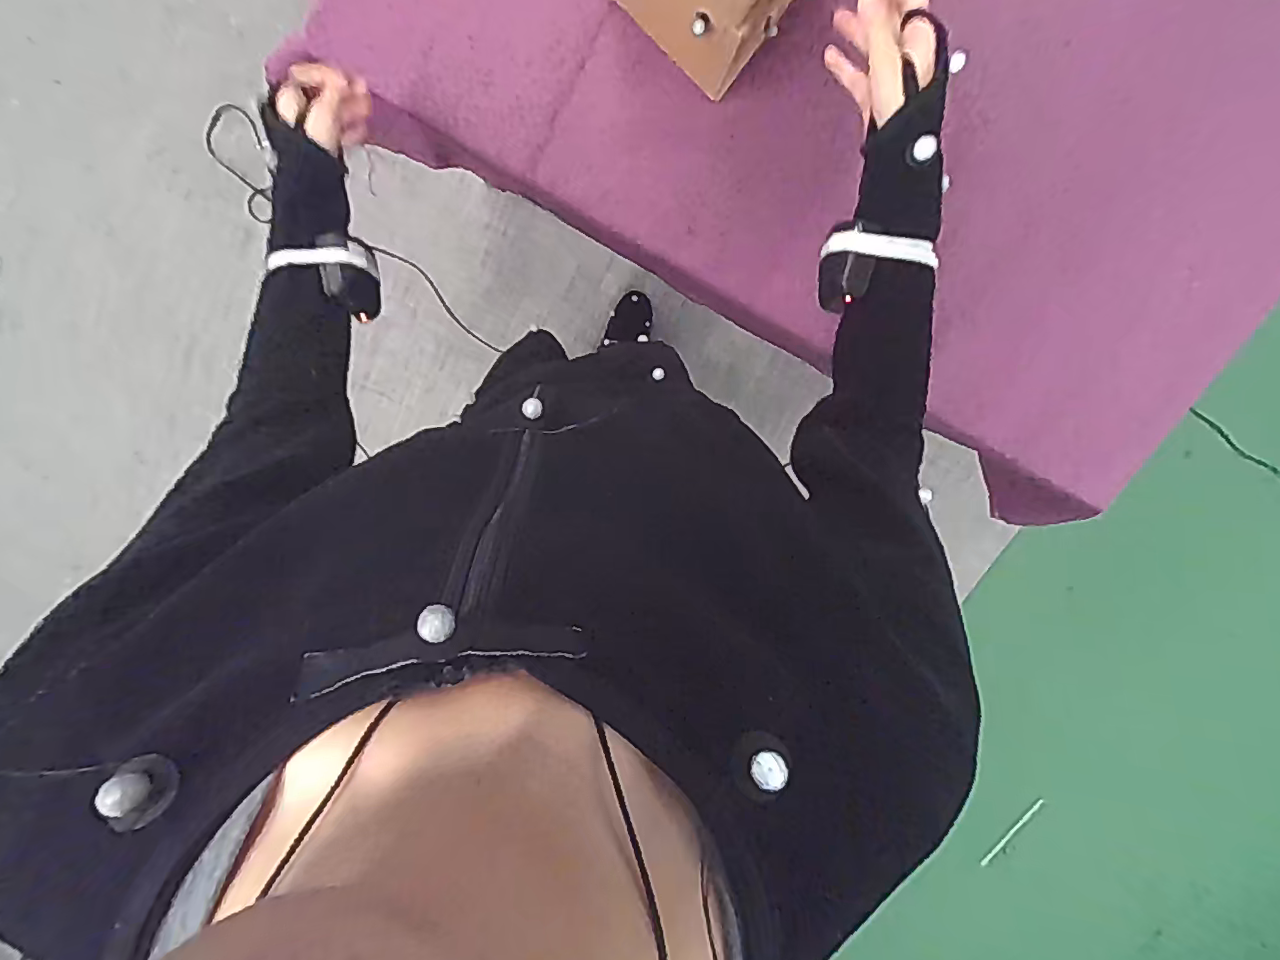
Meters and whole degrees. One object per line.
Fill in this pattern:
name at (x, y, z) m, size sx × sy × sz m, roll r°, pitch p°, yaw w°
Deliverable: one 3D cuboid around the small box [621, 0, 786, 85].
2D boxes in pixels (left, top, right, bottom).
small box at (0.075, -0.539, 0.525) m, size 0.179 × 0.176 × 0.168 m, roll 36°, pitch 103°, yaw -14°
